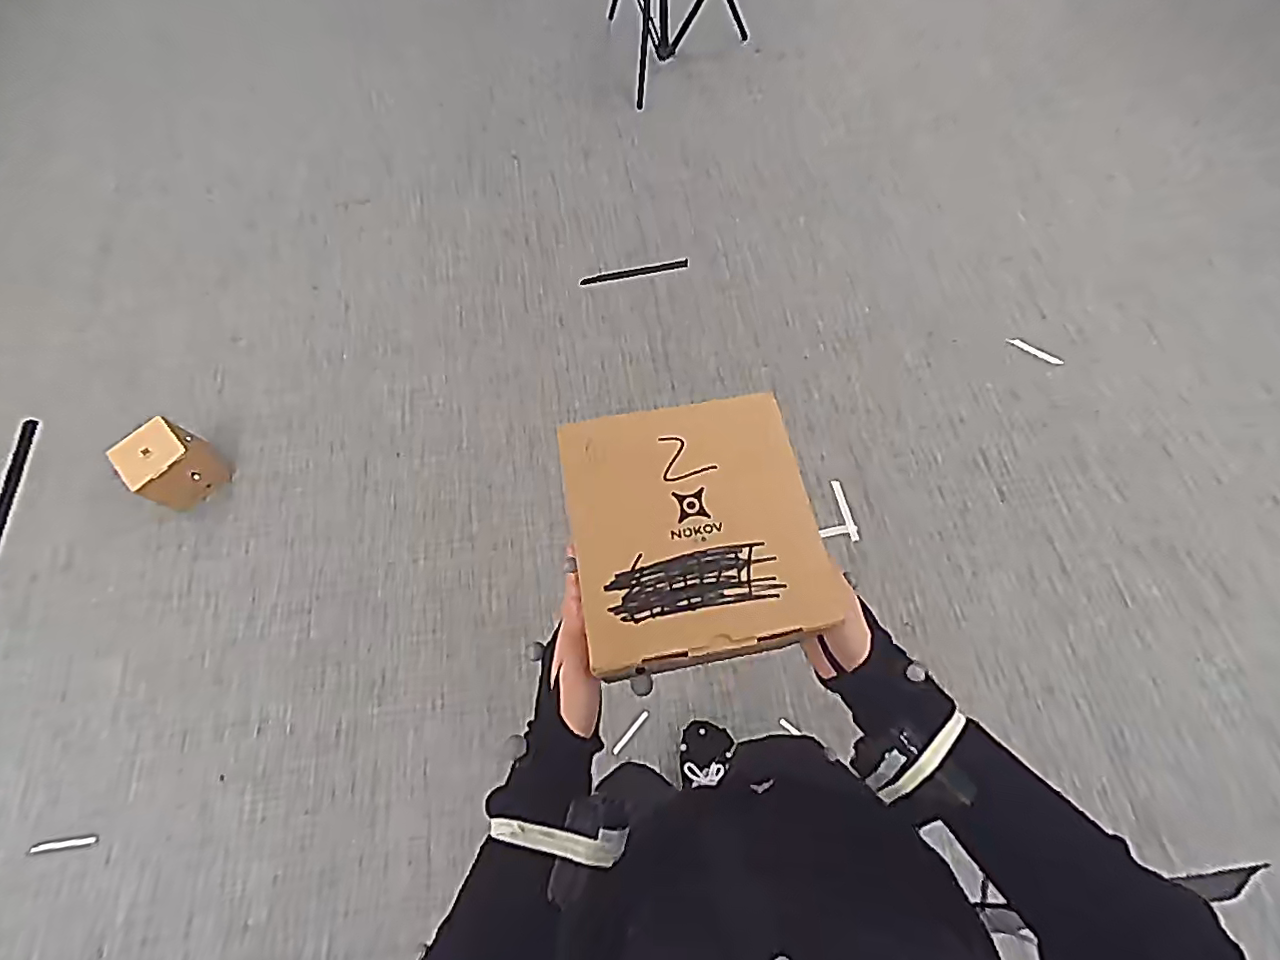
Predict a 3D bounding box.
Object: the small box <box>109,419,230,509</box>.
[{"bbox_3d":[-1.339,-0.036,1.552,0.179,0.176,0.168,41,75,19],"label":"small box"}]
